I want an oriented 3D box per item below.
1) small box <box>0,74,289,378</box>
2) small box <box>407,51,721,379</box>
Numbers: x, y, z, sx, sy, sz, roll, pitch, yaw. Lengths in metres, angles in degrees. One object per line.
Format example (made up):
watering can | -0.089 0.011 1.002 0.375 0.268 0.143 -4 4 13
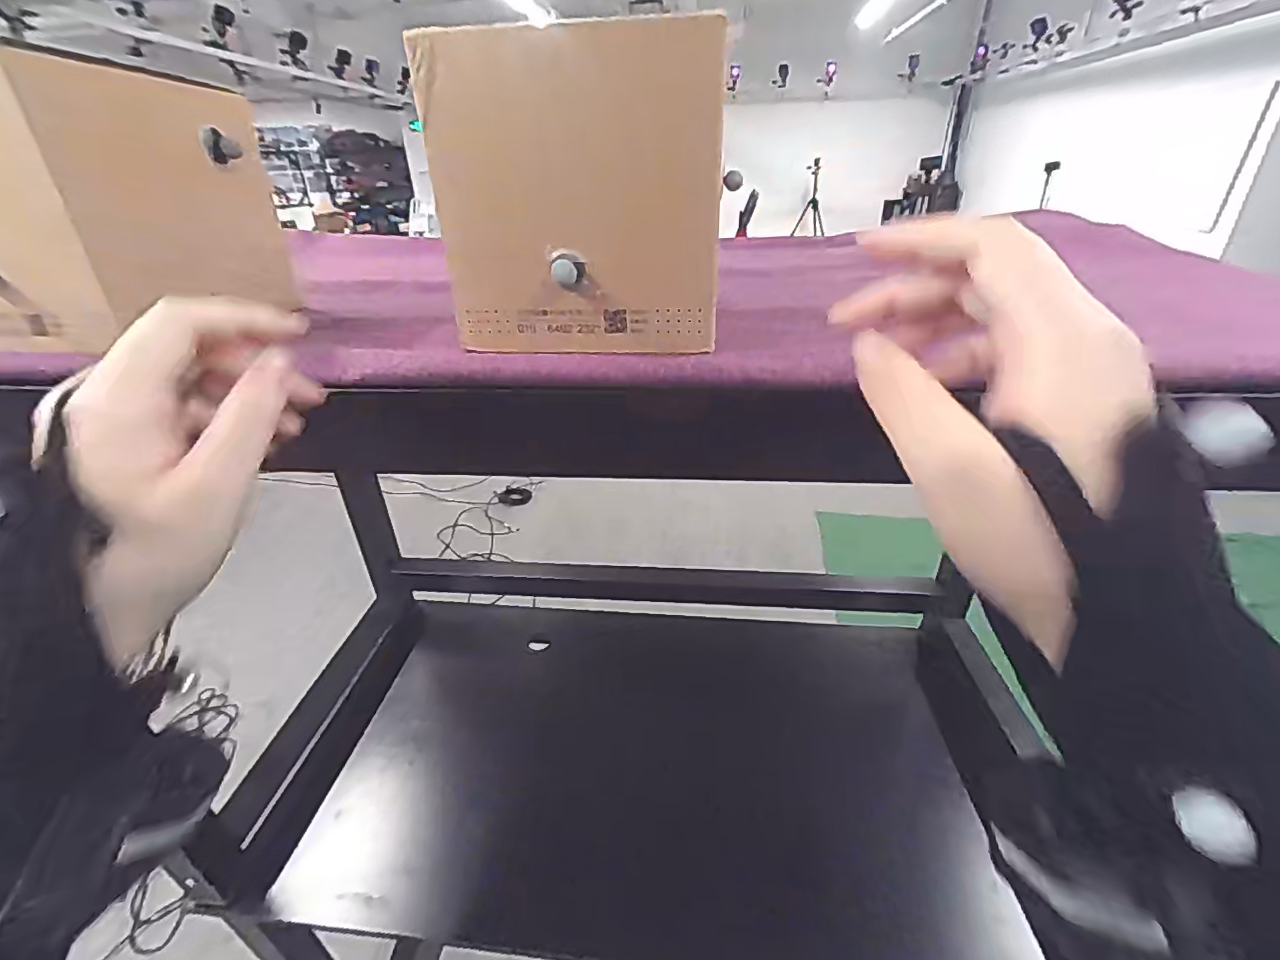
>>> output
small box | -0.403 -0.184 0.405 0.168 0.176 0.179 2 29 6
small box | -0.030 -0.181 0.382 0.168 0.176 0.179 2 31 7
